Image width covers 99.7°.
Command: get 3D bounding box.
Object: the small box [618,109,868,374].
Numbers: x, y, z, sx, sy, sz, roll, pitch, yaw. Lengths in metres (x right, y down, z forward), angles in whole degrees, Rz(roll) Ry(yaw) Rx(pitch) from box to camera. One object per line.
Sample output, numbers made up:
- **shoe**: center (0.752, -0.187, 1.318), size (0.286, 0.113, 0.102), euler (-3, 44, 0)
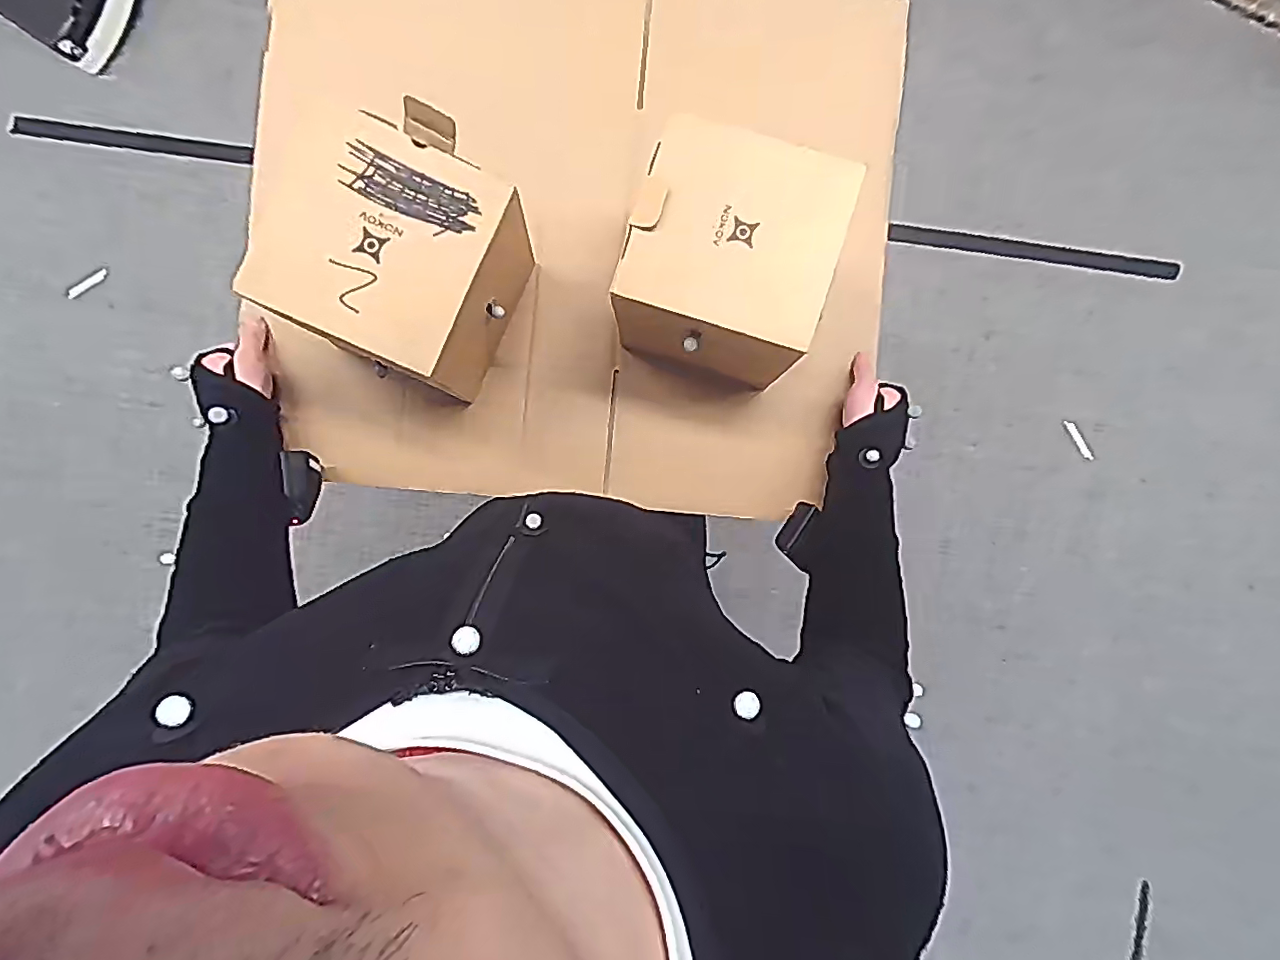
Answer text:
- **small box**: center (0.090, -0.216, 0.541), size (0.179, 0.176, 0.168), euler (18, 90, 2)
